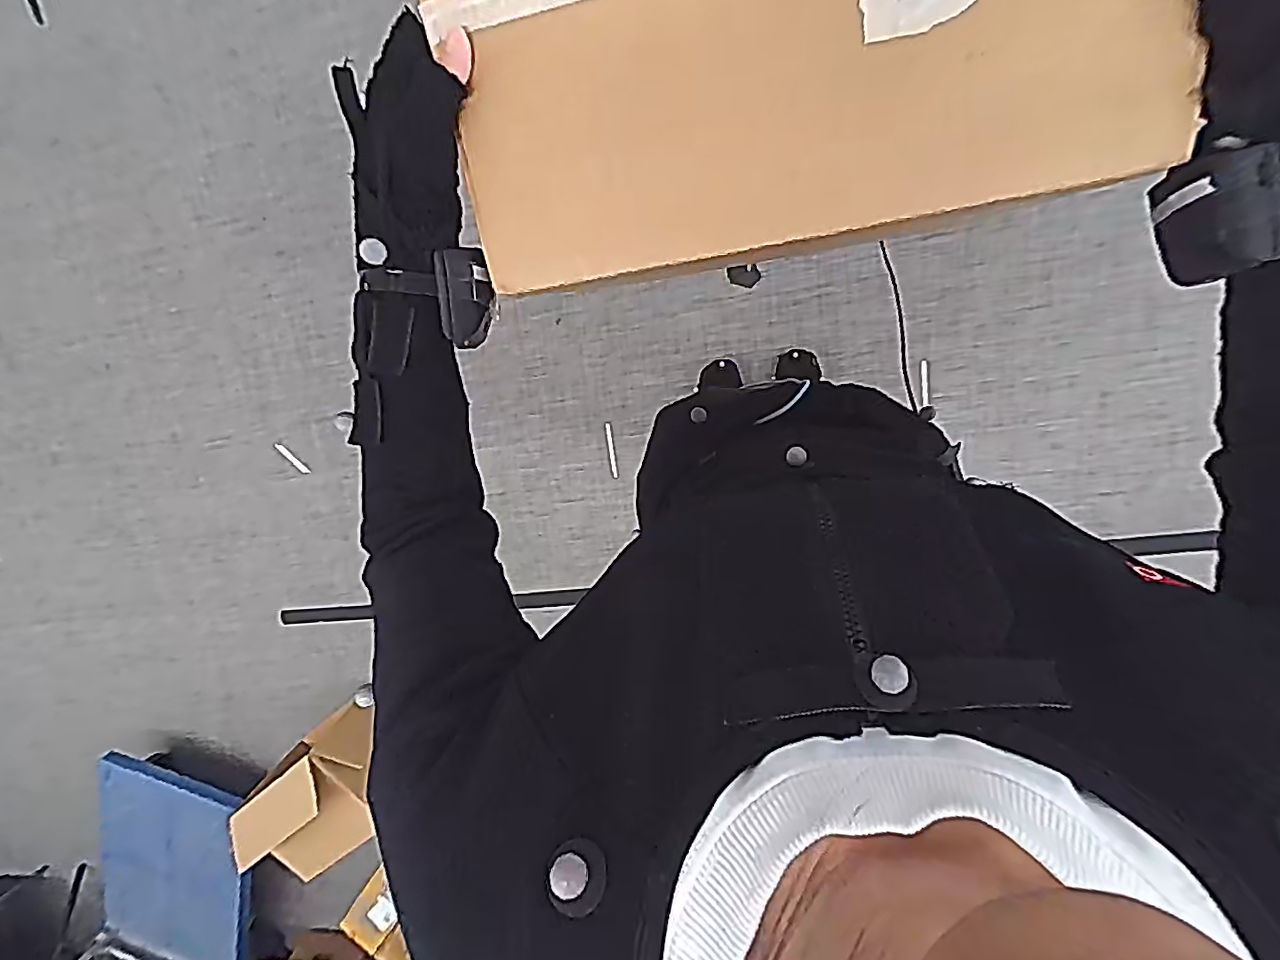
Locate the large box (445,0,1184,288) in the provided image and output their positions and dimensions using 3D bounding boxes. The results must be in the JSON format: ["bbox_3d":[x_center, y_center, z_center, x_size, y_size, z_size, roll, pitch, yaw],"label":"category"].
[{"bbox_3d":[0.094,-0.352,0.433,0.408,0.320,0.320,-7,109,10],"label":"large box"}]
